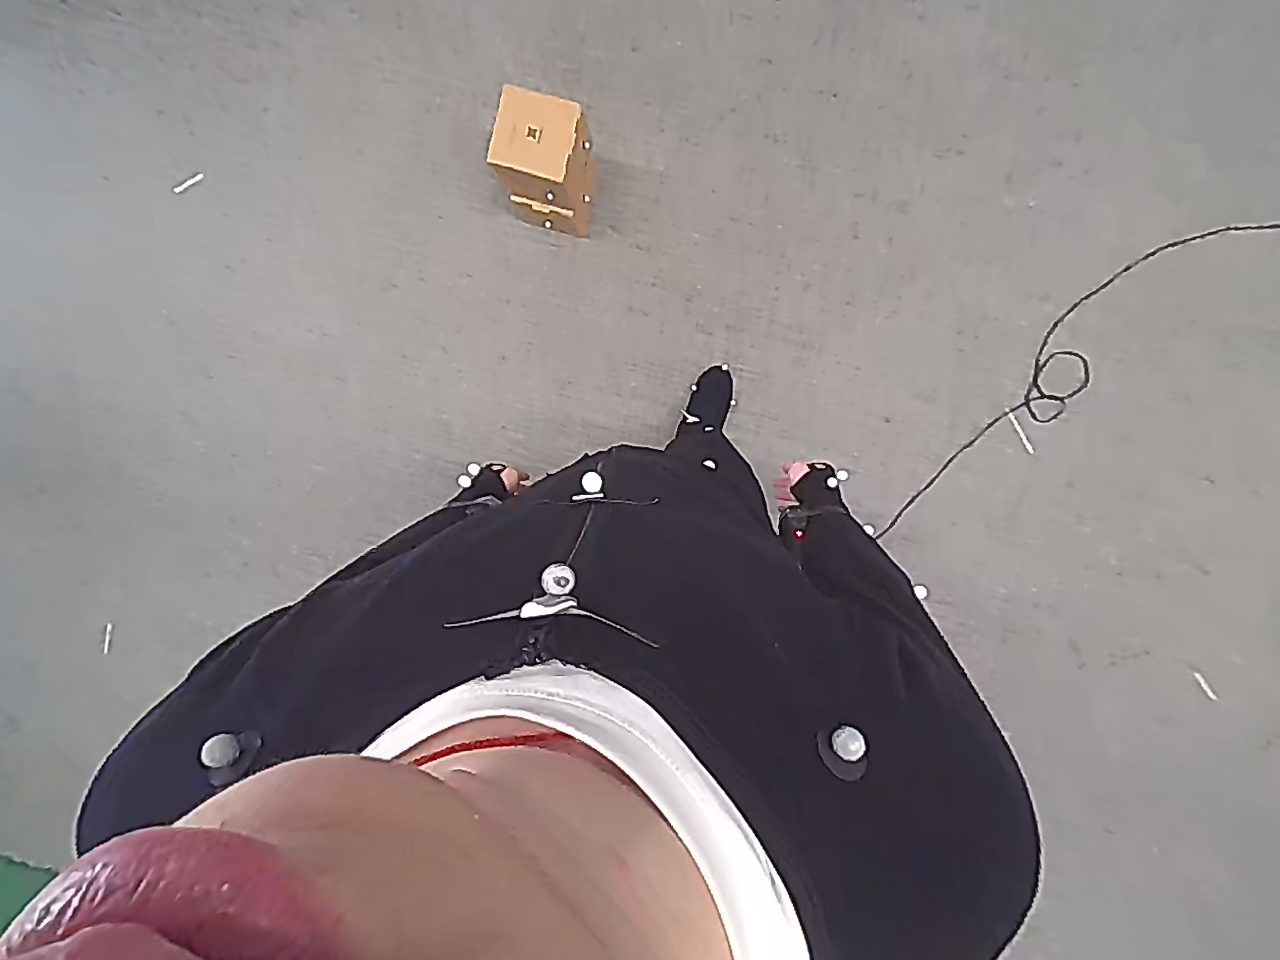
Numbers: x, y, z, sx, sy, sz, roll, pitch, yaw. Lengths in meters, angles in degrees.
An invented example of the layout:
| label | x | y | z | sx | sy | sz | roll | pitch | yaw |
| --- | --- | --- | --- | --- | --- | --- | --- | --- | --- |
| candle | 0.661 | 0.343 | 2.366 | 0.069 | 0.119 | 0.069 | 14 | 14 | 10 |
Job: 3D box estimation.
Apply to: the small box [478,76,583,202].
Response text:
| label | x | y | z | sx | sy | sz | roll | pitch | yaw |
| --- | --- | --- | --- | --- | --- | --- | --- | --- | --- |
| small box | -0.237 | -0.755 | 1.217 | 0.179 | 0.176 | 0.168 | 16 | 96 | 2 |

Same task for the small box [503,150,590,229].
| label | x | y | z | sx | sy | sz | roll | pitch | yaw |
| --- | --- | --- | --- | --- | --- | --- | --- | --- | --- |
| small box | -0.235 | -0.774 | 1.398 | 0.168 | 0.176 | 0.179 | 14 | 97 | 2 |
